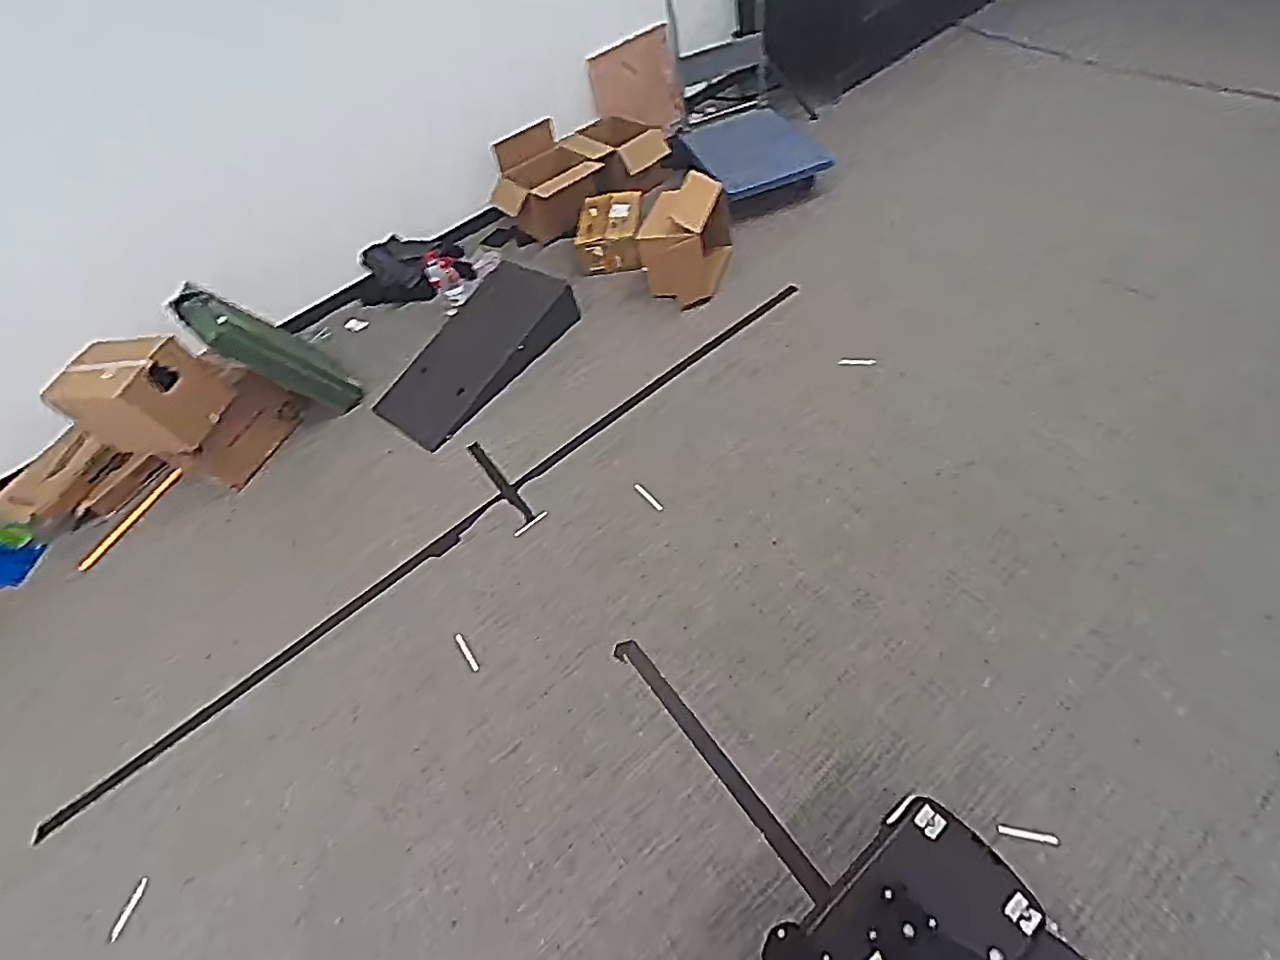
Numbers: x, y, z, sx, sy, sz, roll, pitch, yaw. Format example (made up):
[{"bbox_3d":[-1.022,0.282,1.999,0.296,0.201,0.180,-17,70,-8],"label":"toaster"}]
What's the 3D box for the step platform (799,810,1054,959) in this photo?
[{"bbox_3d":[0.481,1.012,1.069,0.684,0.204,0.286,-38,56,-16],"label":"step platform"}]
